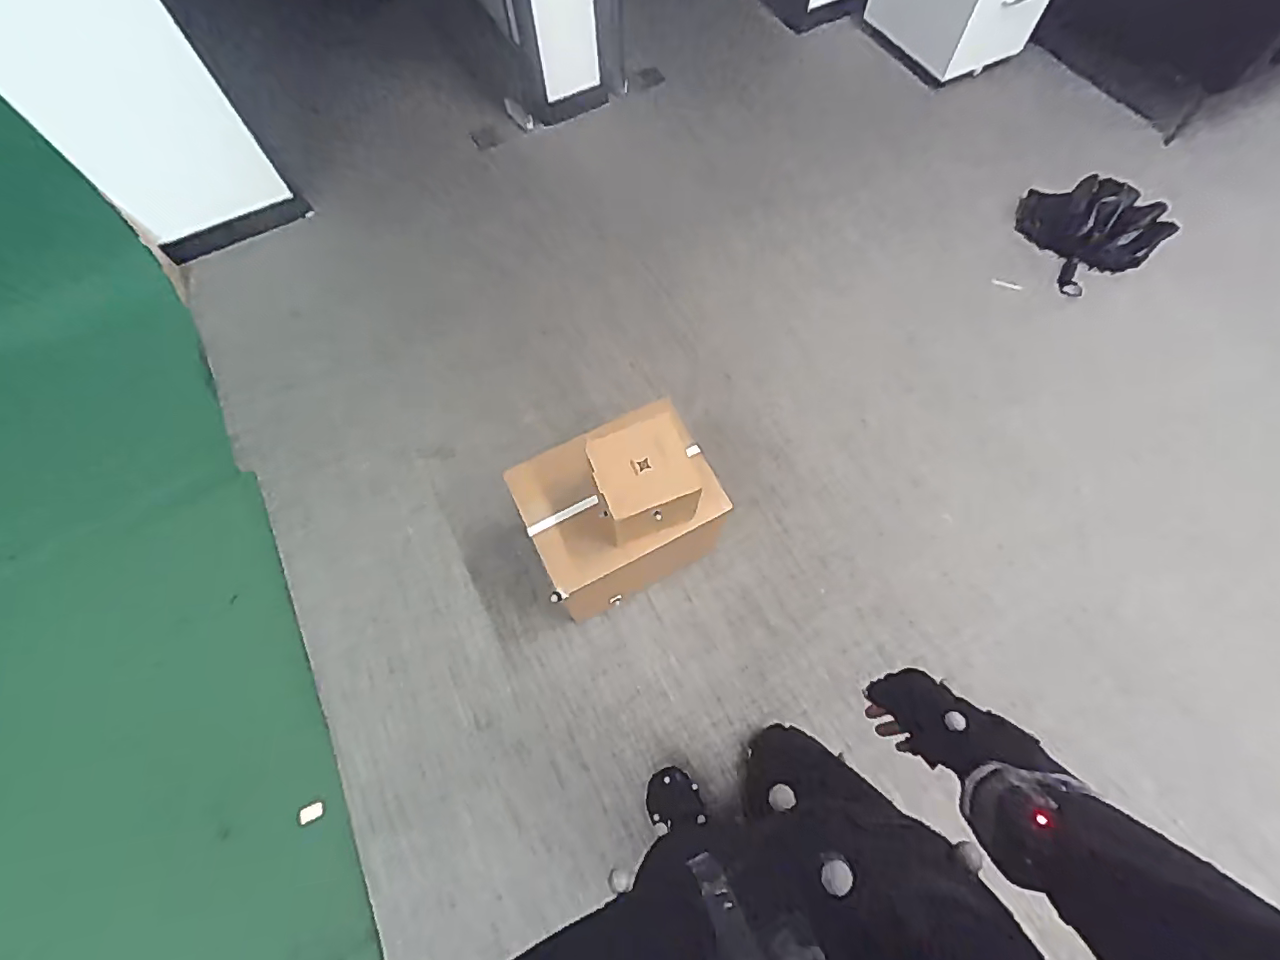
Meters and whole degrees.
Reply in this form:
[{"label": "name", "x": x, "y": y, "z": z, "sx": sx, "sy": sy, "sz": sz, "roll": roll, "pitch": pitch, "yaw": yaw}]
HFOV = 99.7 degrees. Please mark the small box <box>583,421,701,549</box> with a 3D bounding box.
[{"label": "small box", "x": 0.003, "y": 0.017, "z": 1.061, "sx": 0.179, "sy": 0.176, "sz": 0.168, "roll": -21, "pitch": 70, "yaw": -9}]
